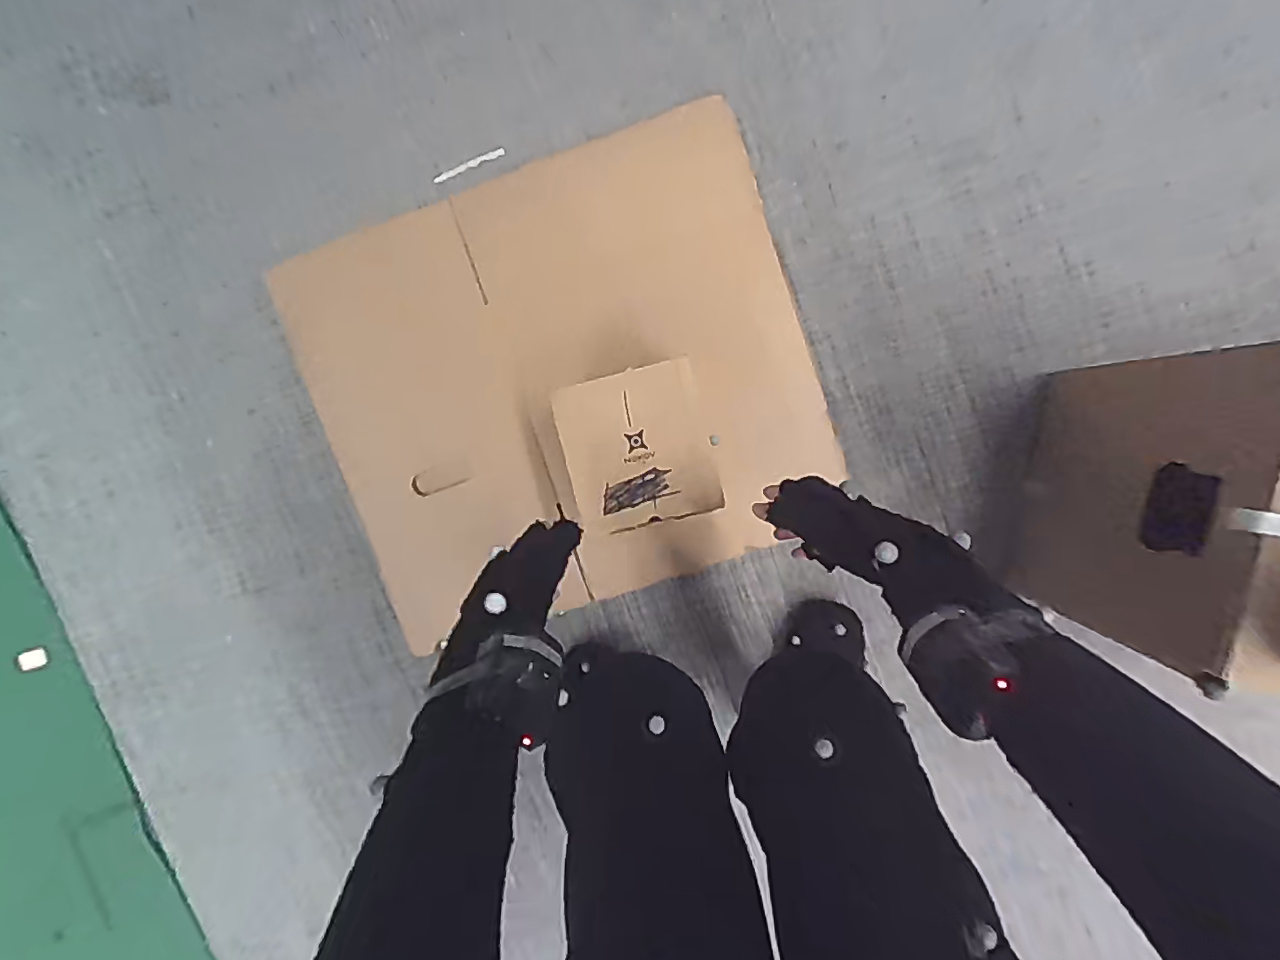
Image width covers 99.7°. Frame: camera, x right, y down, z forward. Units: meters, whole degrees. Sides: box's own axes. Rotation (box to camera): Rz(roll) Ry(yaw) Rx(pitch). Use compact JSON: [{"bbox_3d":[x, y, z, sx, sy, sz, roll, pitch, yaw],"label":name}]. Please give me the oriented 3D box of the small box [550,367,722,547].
[{"bbox_3d":[0.003,-0.030,0.688,0.168,0.176,0.179,-14,92,5],"label":"small box"}]
